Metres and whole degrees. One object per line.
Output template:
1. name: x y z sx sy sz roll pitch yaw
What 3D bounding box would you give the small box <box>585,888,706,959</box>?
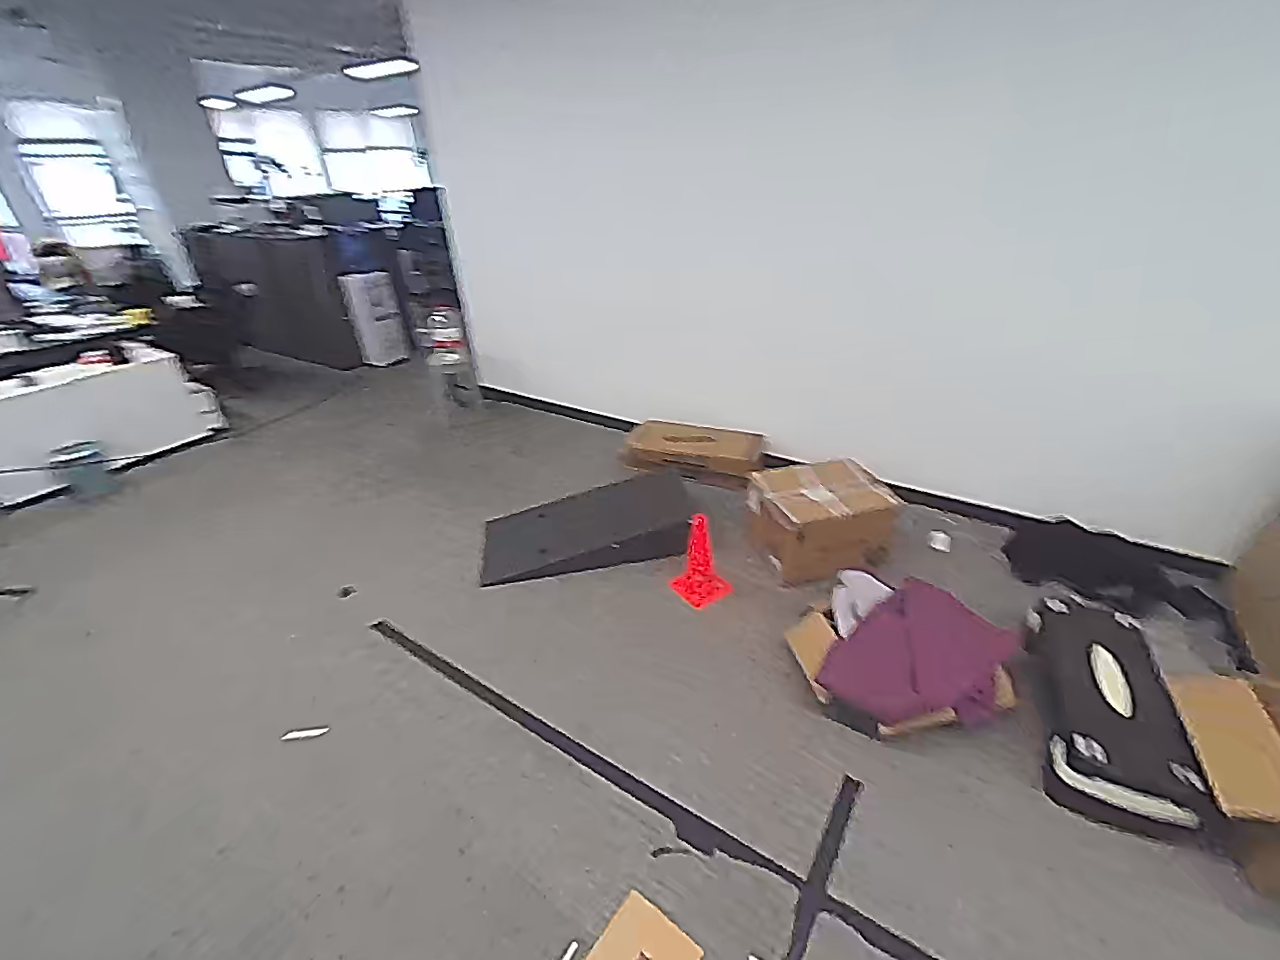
1. small box: 0.005 0.923 0.996 0.168 0.176 0.179 20 38 34
